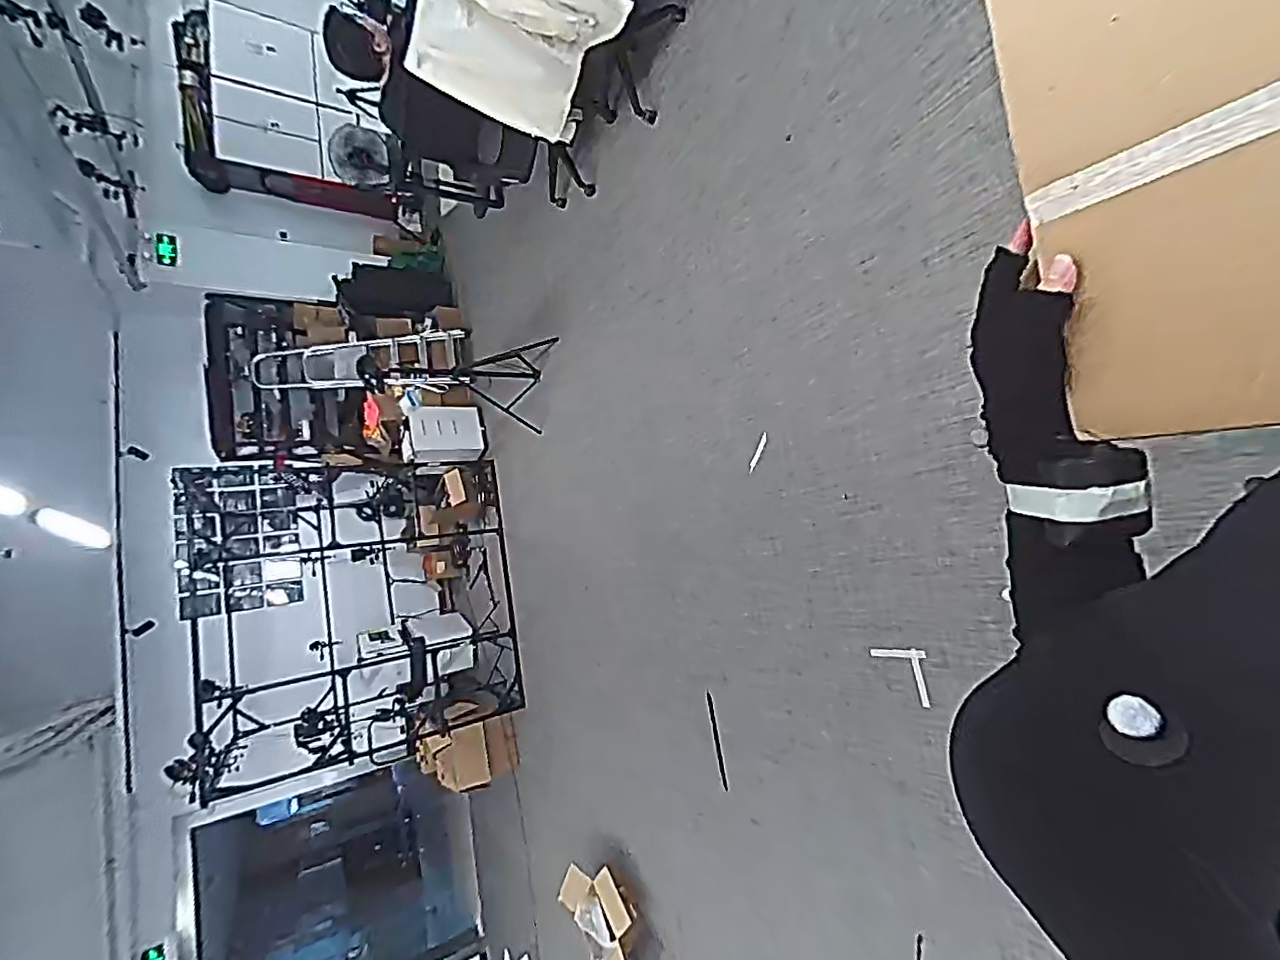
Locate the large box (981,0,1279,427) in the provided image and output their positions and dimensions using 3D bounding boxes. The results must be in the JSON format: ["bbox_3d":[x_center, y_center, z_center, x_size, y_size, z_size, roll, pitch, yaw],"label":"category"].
[{"bbox_3d":[0.478,-0.238,0.260,0.408,0.320,0.320,-7,100,59],"label":"large box"}]
